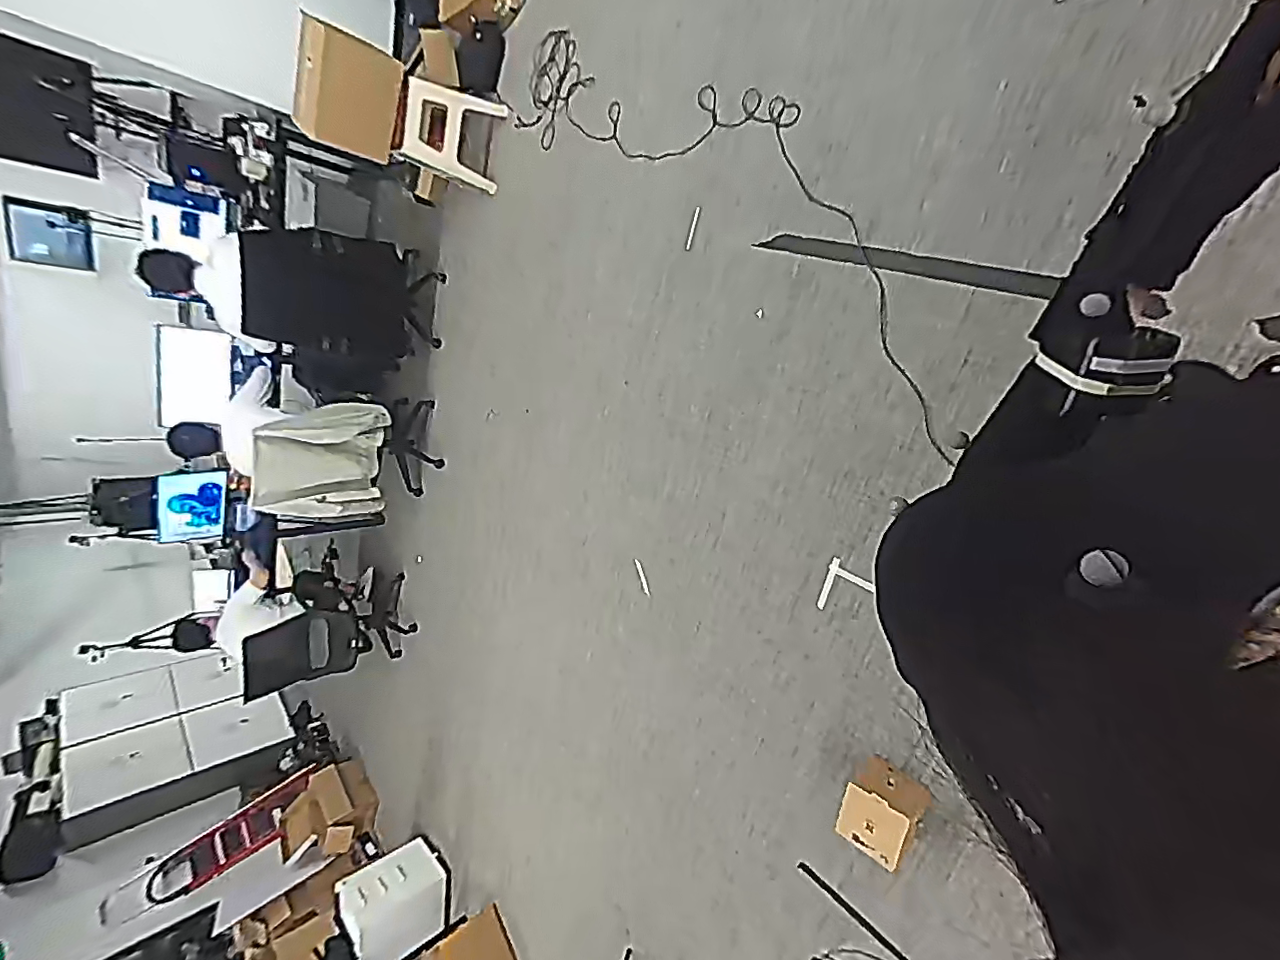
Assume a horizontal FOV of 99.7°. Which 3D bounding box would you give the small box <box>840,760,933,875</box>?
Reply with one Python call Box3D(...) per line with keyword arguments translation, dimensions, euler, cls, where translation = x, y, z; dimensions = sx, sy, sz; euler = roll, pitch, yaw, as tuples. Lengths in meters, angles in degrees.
Box3D(translation=(0.682, 0.914, 1.485), dimensions=(0.168, 0.176, 0.179), euler=(22, 108, 41), cls="small box")
